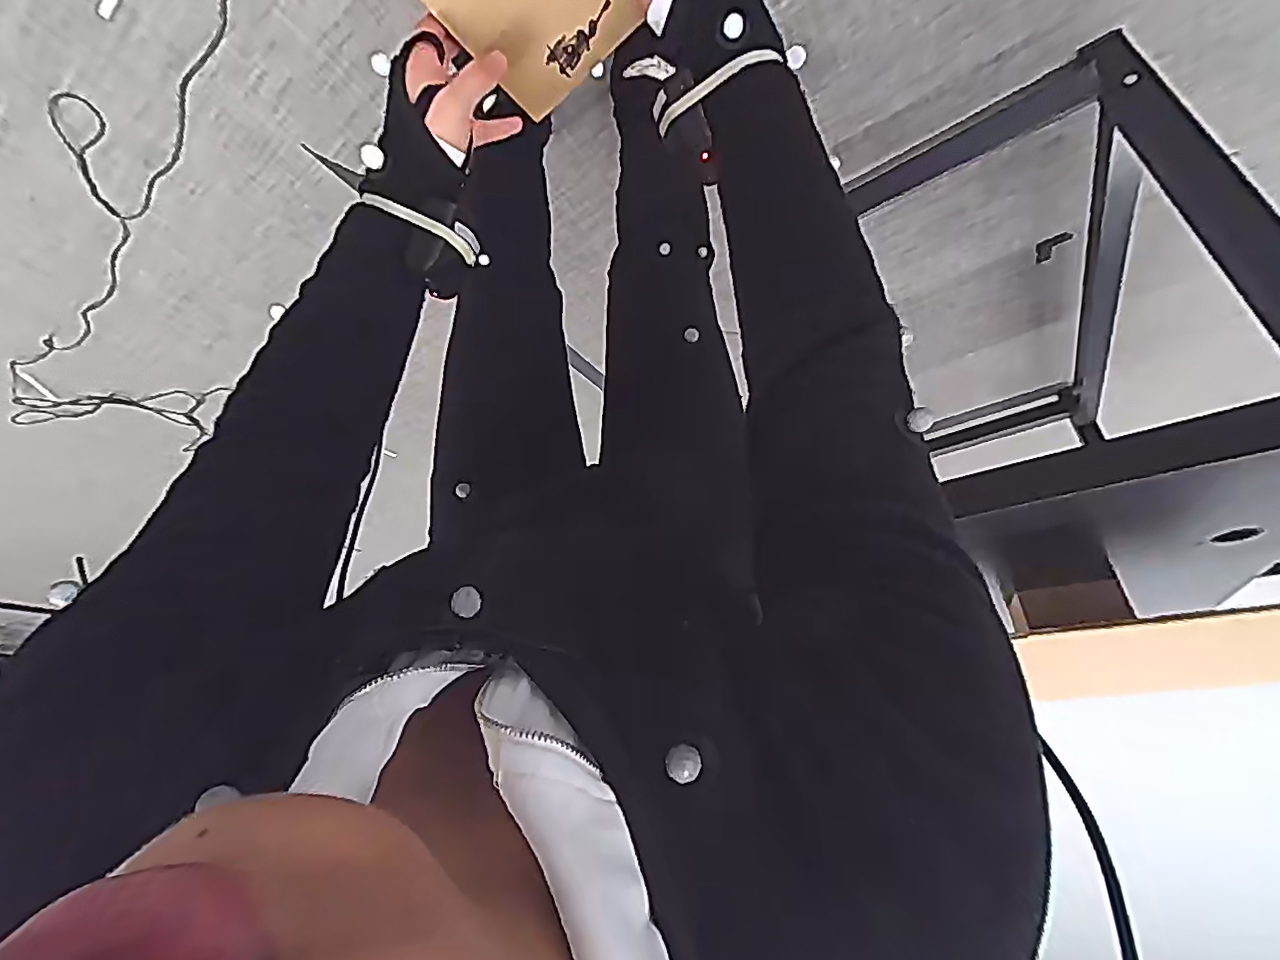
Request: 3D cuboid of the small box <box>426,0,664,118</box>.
[{"bbox_3d":[-0.084,-0.444,0.414,0.168,0.176,0.179,-21,147,32],"label":"small box"}]
